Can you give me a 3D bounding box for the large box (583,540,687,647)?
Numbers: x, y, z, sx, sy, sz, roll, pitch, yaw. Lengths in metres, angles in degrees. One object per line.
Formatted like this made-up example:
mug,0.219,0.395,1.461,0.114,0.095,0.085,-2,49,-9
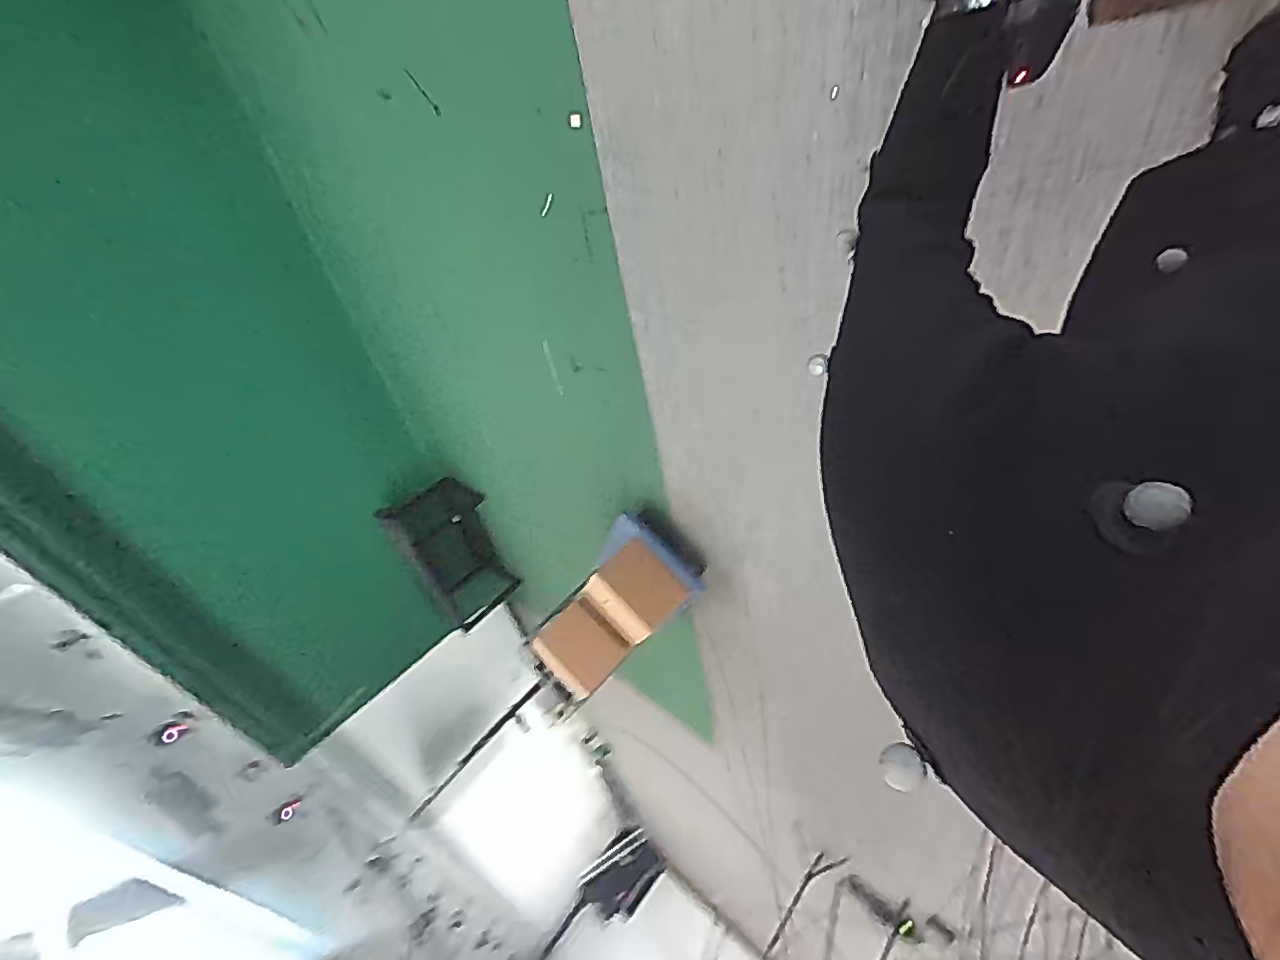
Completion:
large box,-0.032,0.586,2.786,0.408,0.320,0.320,46,150,8
